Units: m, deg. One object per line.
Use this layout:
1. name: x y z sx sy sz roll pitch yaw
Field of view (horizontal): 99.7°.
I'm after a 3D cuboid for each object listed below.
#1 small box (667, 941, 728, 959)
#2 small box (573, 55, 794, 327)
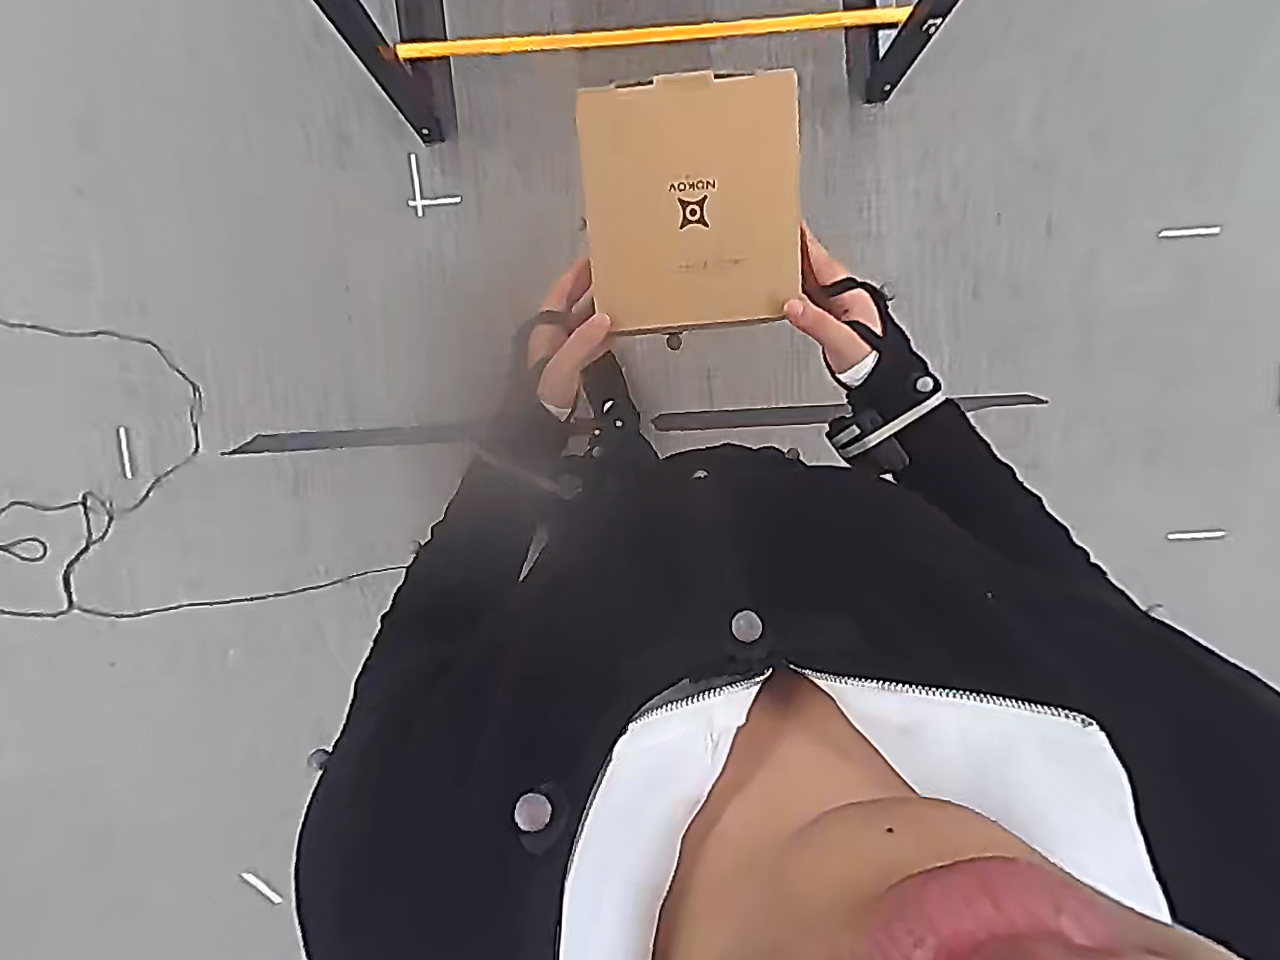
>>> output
1. small box: 0.162 1.371 1.433 0.168 0.176 0.179 -6 96 1
2. small box: 0.034 -0.237 0.488 0.168 0.176 0.179 -4 104 1
